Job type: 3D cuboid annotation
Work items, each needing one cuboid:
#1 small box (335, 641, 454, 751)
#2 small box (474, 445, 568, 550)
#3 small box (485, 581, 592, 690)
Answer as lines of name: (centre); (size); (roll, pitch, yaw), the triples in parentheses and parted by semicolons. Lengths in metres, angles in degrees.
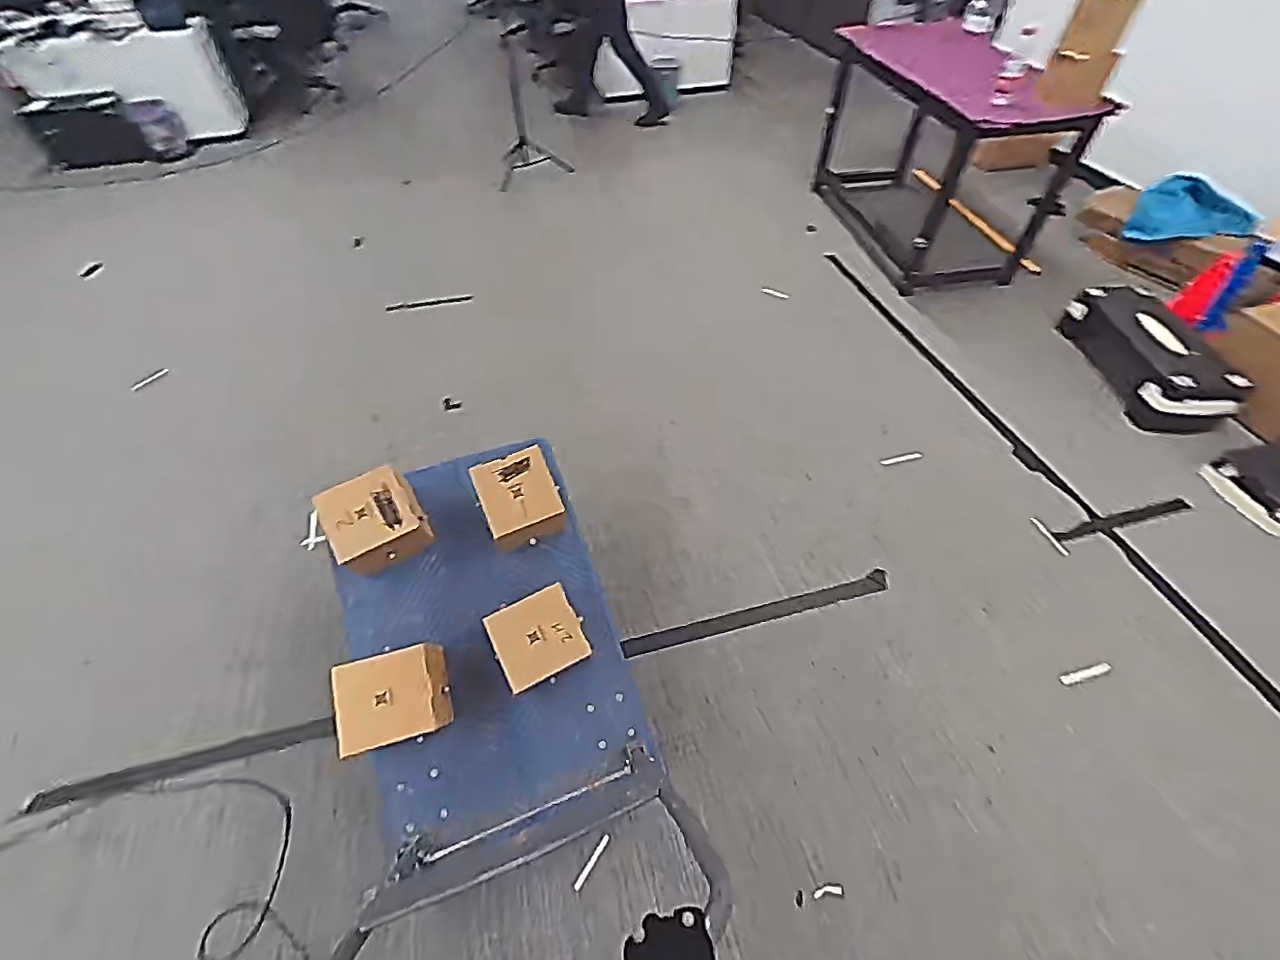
small box: (-0.500, 0.443, 1.117); (0.179, 0.176, 0.168); (-12, 72, -13)
small box: (-0.279, 0.045, 1.285); (0.168, 0.176, 0.179); (-21, 75, -13)
small box: (-0.216, 0.343, 1.186); (0.179, 0.176, 0.168); (-24, 75, -14)
